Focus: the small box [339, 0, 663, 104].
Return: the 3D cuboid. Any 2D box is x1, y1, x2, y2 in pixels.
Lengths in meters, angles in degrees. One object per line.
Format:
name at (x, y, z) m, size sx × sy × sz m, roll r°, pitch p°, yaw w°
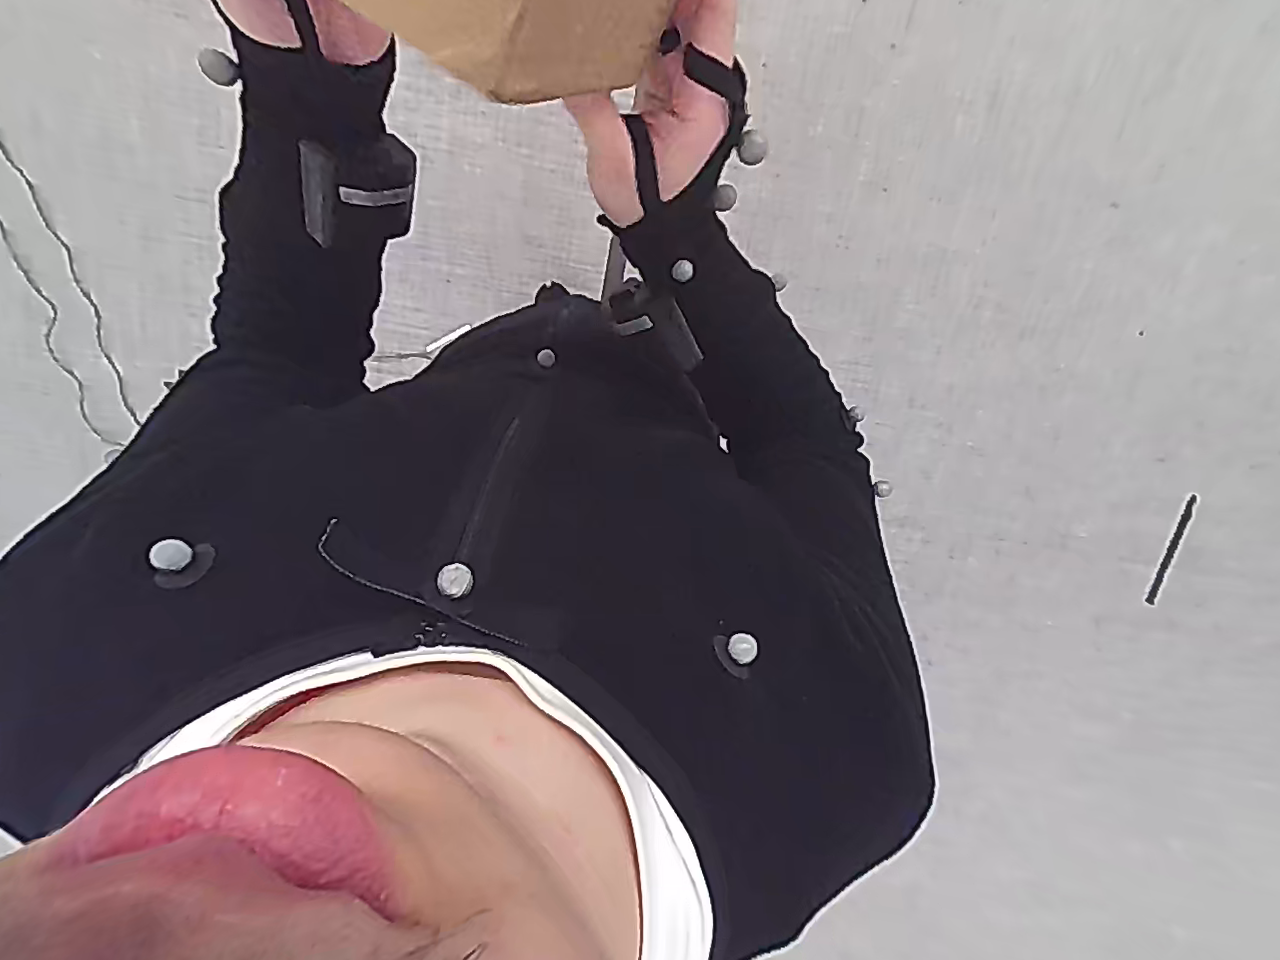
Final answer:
small box at (-0.055, -0.230, 0.132) m, size 0.179 × 0.176 × 0.168 m, roll 27°, pitch 127°, yaw -8°
